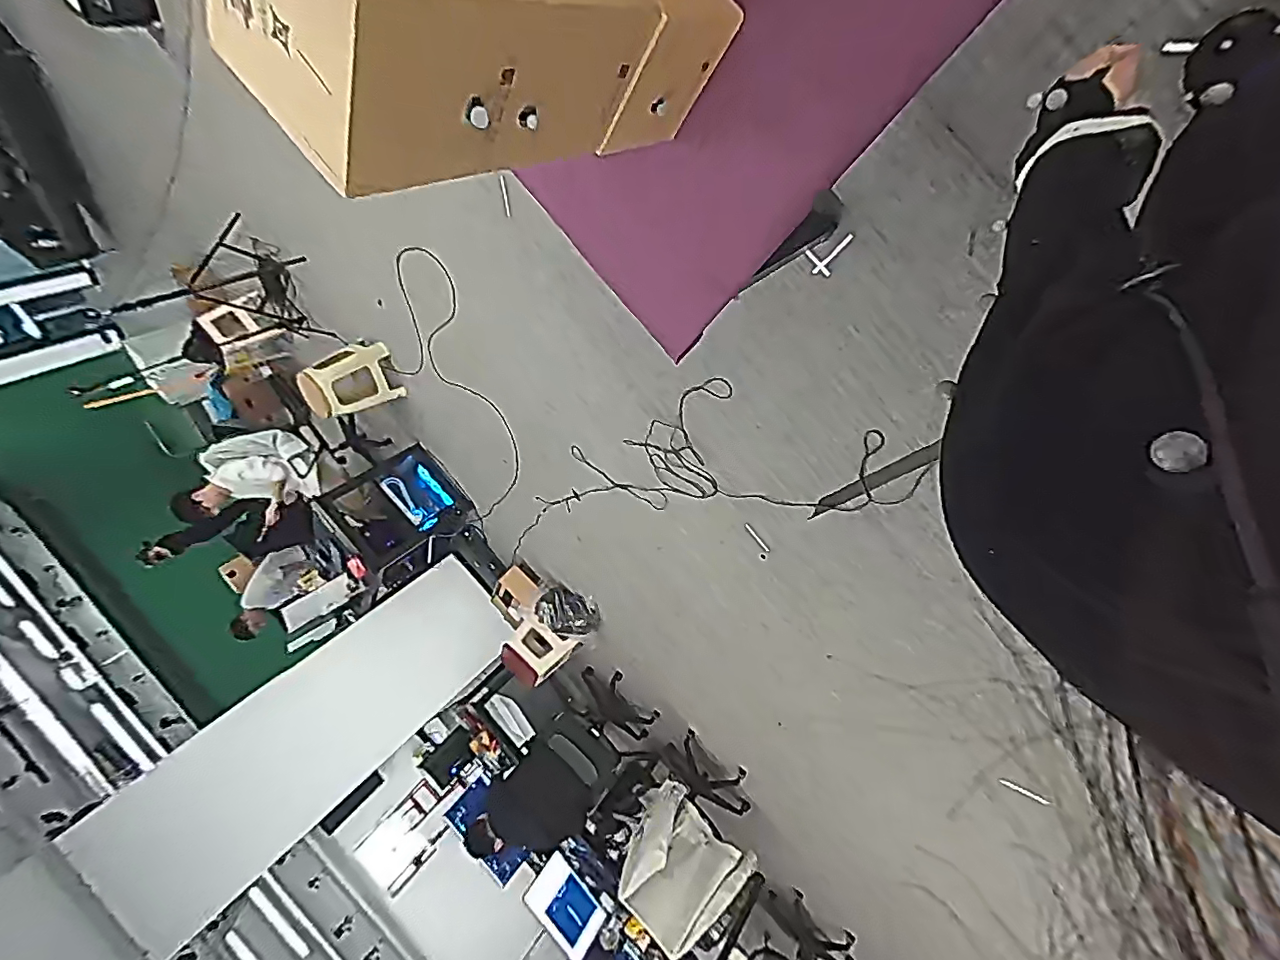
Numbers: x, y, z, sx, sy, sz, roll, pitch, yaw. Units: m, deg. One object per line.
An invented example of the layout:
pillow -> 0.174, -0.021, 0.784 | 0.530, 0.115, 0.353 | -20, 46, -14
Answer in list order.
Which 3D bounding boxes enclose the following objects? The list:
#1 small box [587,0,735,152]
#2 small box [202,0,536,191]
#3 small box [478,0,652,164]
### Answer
small box -> -0.020, -0.539, 0.646 | 0.179, 0.176, 0.168 | 51, 142, 0
small box -> -0.220, -0.377, 0.441 | 0.179, 0.176, 0.168 | 50, 142, -1
small box -> -0.123, -0.460, 0.546 | 0.179, 0.176, 0.168 | 51, 142, 0
